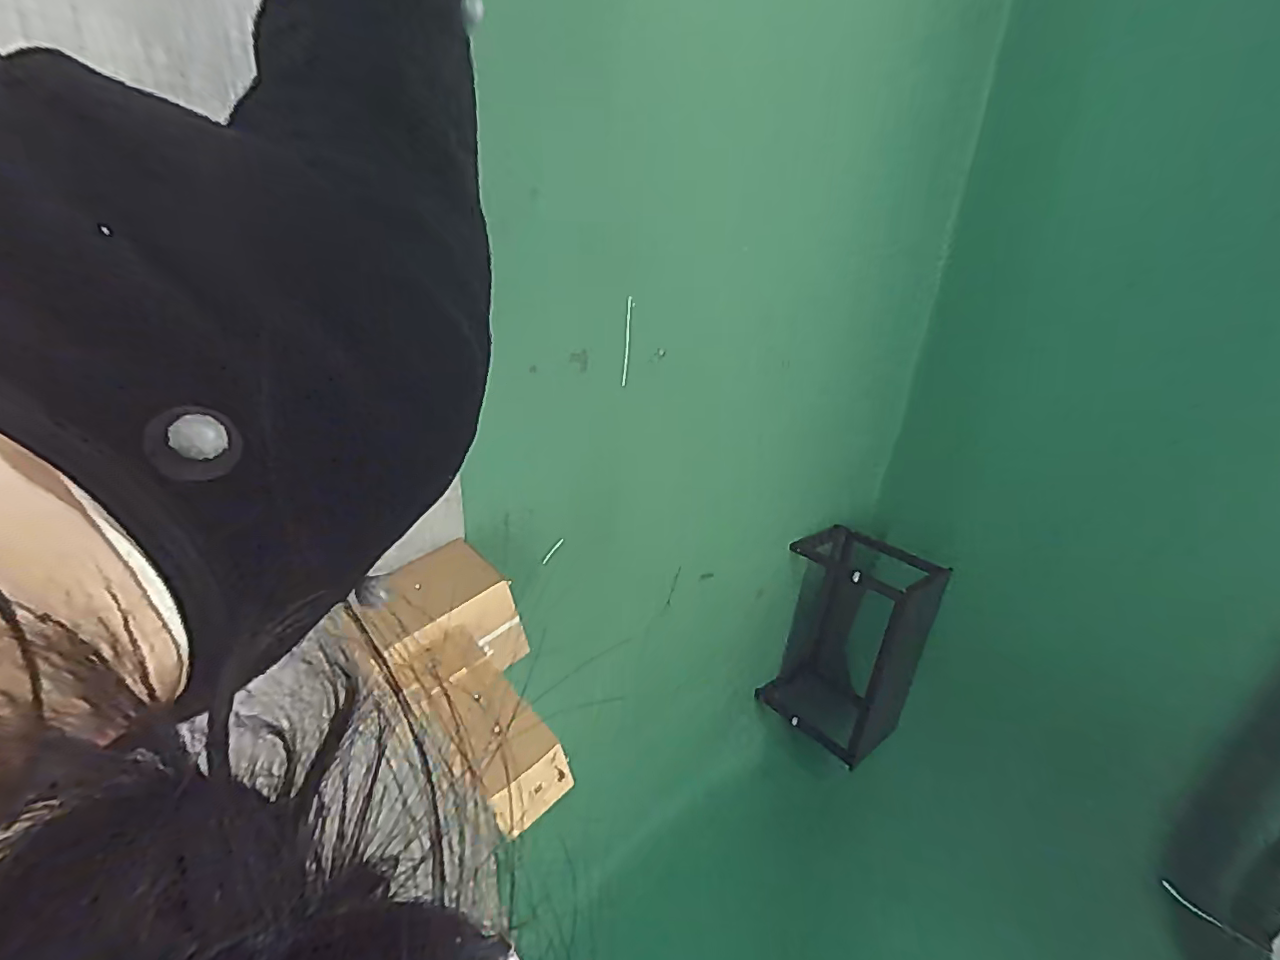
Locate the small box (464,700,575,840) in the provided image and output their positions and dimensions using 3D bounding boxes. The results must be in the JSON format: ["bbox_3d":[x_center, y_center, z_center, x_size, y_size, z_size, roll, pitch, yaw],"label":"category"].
[{"bbox_3d":[-0.275,0.640,1.211,0.179,0.176,0.168,-29,127,-30],"label":"small box"}]

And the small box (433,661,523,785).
[{"bbox_3d":[-0.384,0.585,1.320,0.179,0.176,0.168,-30,128,-30],"label":"small box"}]

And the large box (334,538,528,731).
[{"bbox_3d":[-0.616,0.441,1.626,0.408,0.320,0.320,-31,129,-32],"label":"large box"}]

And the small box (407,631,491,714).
[{"bbox_3d":[-0.489,0.528,1.432,0.168,0.176,0.179,-29,127,-31],"label":"small box"}]
